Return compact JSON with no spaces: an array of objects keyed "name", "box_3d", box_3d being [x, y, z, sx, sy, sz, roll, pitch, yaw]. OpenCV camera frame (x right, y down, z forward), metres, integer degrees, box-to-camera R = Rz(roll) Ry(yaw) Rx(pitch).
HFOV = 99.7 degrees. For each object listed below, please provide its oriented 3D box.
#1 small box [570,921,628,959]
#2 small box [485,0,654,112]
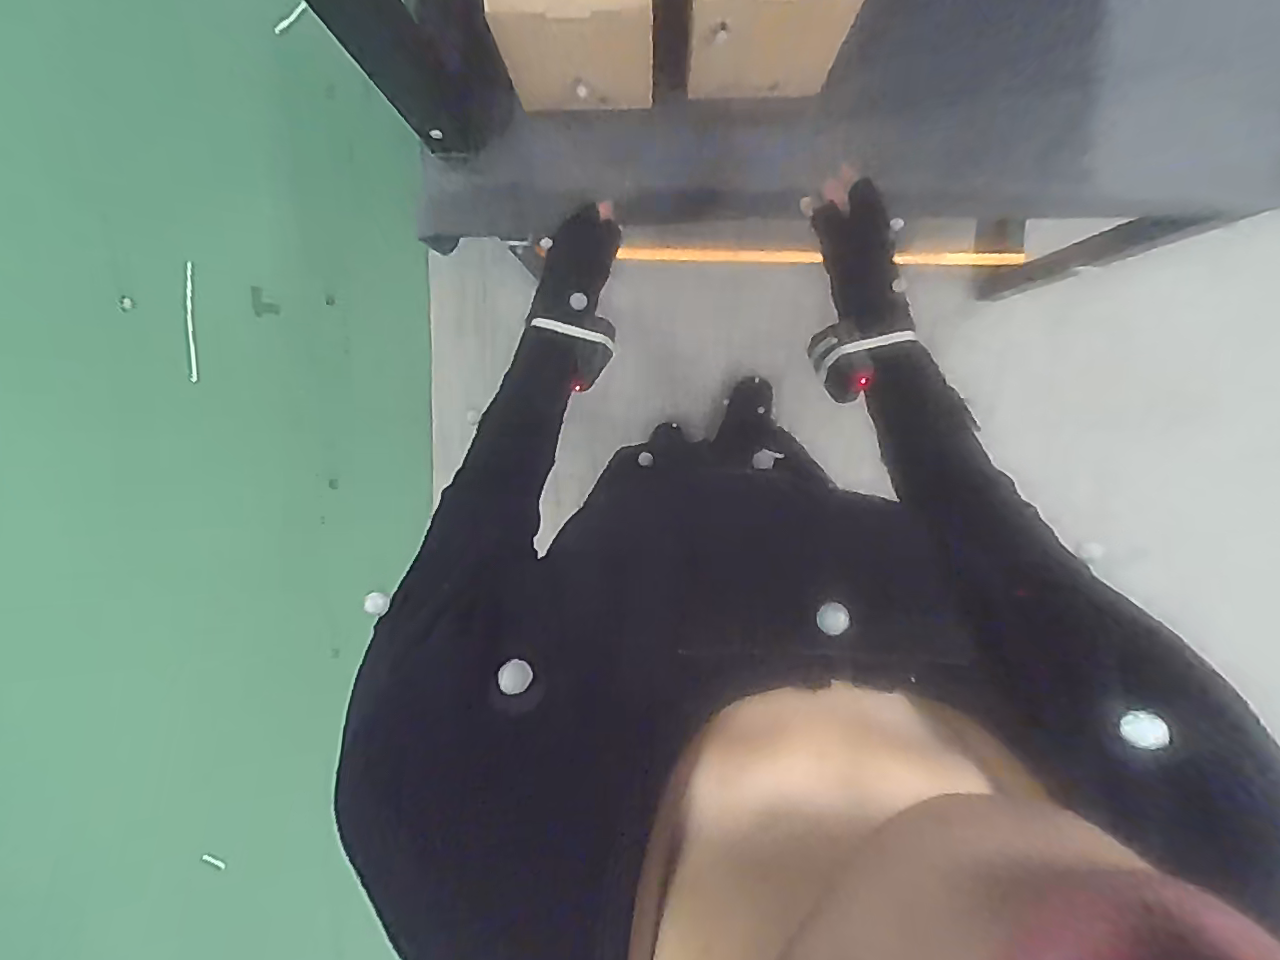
[{"name":"small box","box_3d":[-0.127,1.437,1.560,0.168,0.176,0.179,8,96,1]},{"name":"small box","box_3d":[-0.069,-0.548,0.599,0.168,0.176,0.179,0,96,1]}]
